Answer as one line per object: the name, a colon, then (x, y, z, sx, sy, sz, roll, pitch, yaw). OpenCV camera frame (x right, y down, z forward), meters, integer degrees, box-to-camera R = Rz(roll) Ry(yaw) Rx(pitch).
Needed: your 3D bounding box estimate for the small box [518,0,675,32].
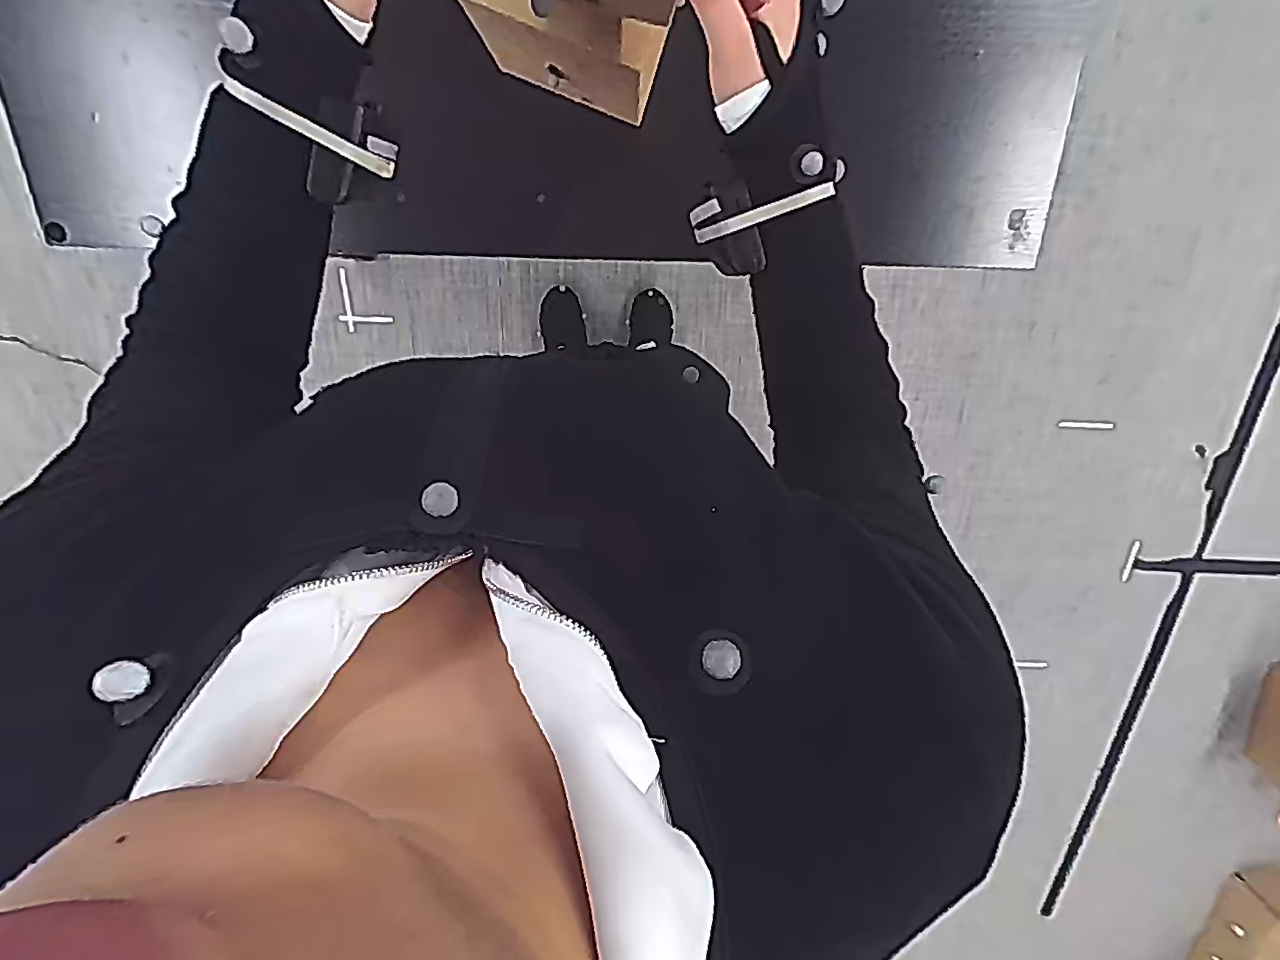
small box: (-0.040, -0.409, 0.317, 0.168, 0.176, 0.179, 9, 117, -5)

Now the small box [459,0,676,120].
small box: (-0.050, -0.483, 0.515, 0.168, 0.176, 0.179, 18, 108, -7)
